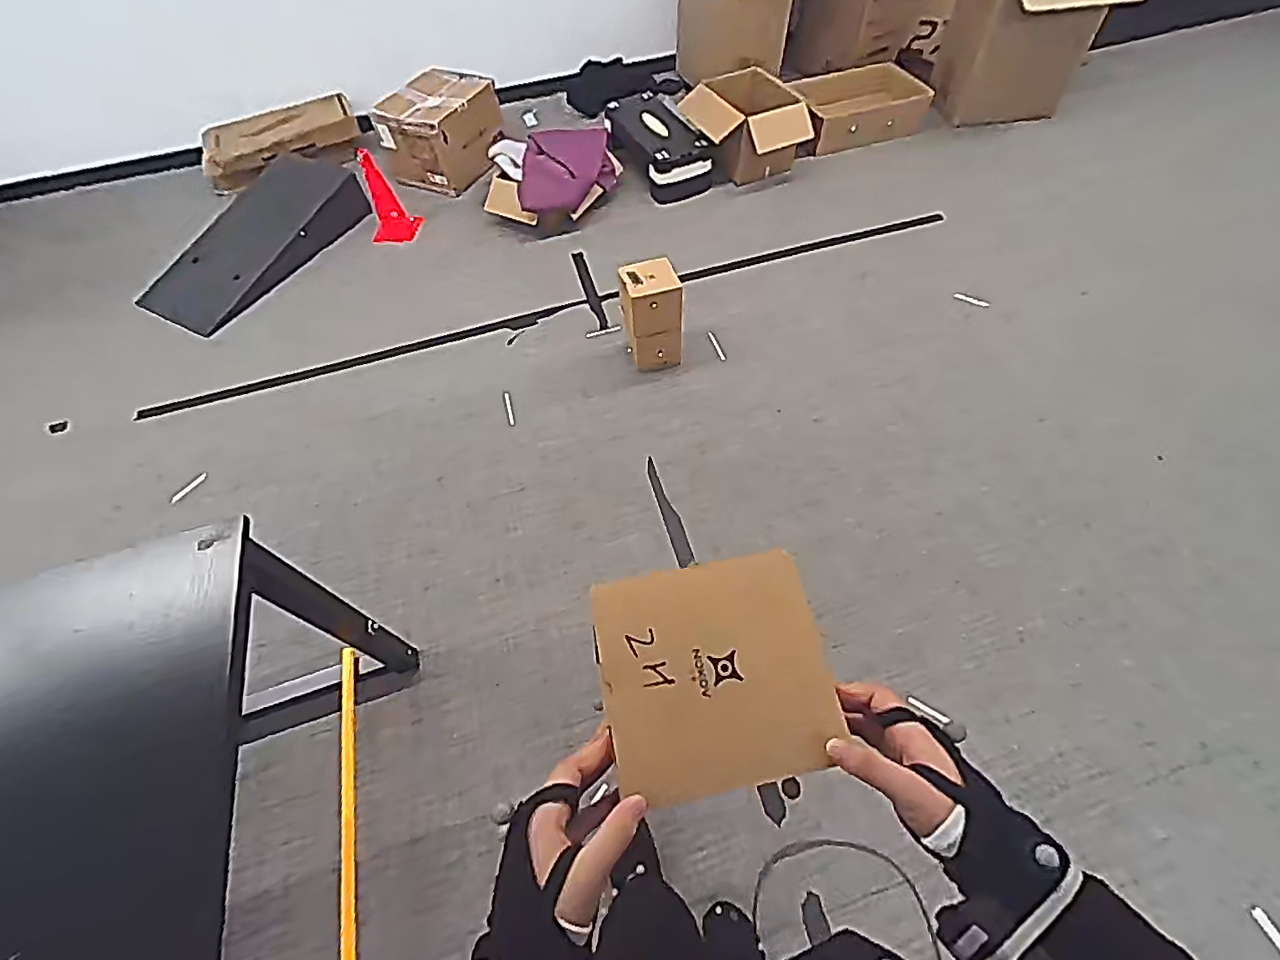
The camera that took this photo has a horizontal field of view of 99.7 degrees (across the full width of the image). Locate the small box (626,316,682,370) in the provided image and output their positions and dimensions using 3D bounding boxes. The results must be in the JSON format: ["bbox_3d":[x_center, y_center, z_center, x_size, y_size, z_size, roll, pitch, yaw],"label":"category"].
[{"bbox_3d":[0.052,-0.518,1.962,0.168,0.176,0.179,-14,58,-6],"label":"small box"}]

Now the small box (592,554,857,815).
[{"bbox_3d":[0.059,0.181,0.489,0.179,0.176,0.168,-11,65,-4],"label":"small box"}]

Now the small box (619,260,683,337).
[{"bbox_3d":[0.039,-0.607,1.822,0.179,0.176,0.168,-15,58,-7],"label":"small box"}]
